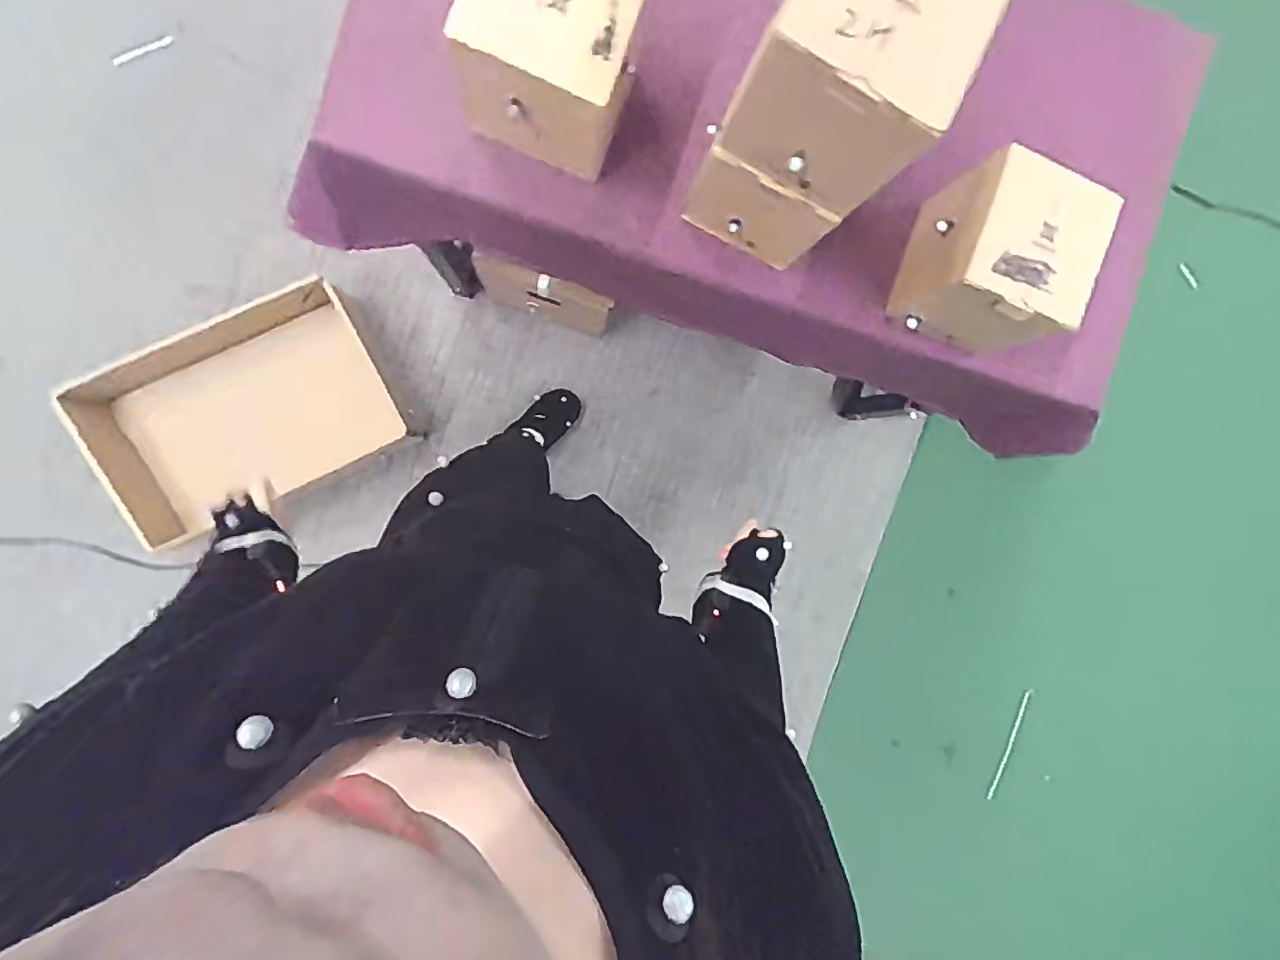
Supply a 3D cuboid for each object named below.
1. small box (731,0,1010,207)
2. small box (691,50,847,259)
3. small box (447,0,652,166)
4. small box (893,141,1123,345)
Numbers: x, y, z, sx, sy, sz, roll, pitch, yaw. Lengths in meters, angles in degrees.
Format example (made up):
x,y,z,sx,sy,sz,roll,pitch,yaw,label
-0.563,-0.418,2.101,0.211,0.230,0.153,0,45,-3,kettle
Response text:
x,y,z,sx,sy,sz,roll,pitch,yaw,label
0.208,-0.408,0.519,0.168,0.176,0.179,26,91,-9,small box
0.181,-0.415,0.682,0.168,0.176,0.179,25,92,-9,small box
-0.097,-0.509,0.632,0.179,0.176,0.168,20,92,-8,small box
0.477,-0.299,0.730,0.168,0.176,0.179,20,91,-9,small box
